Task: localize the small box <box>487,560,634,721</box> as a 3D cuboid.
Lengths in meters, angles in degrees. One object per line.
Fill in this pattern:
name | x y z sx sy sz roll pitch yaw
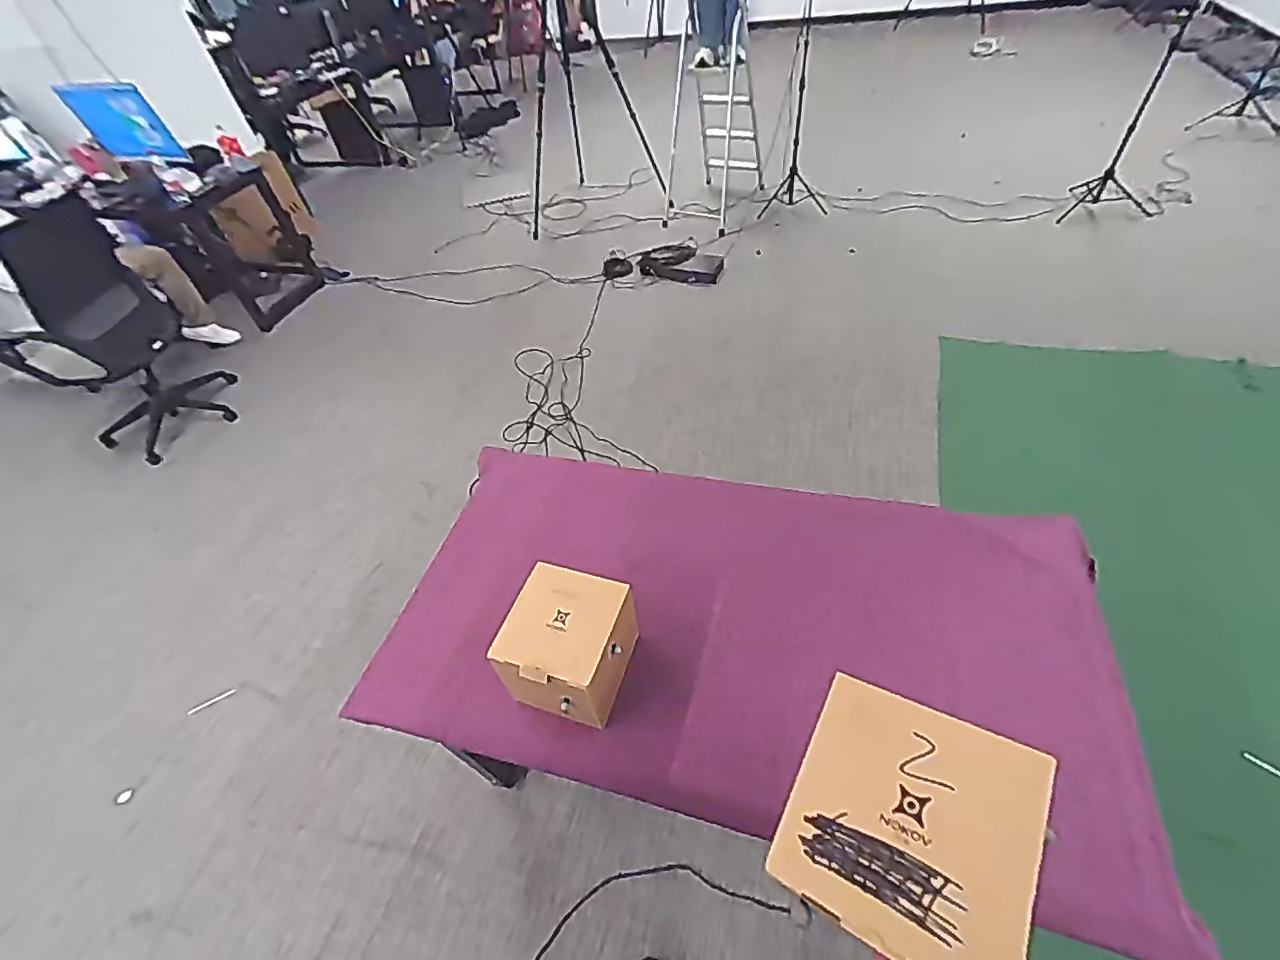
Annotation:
small box | -0.115 0.263 0.880 0.168 0.176 0.179 12 49 17
